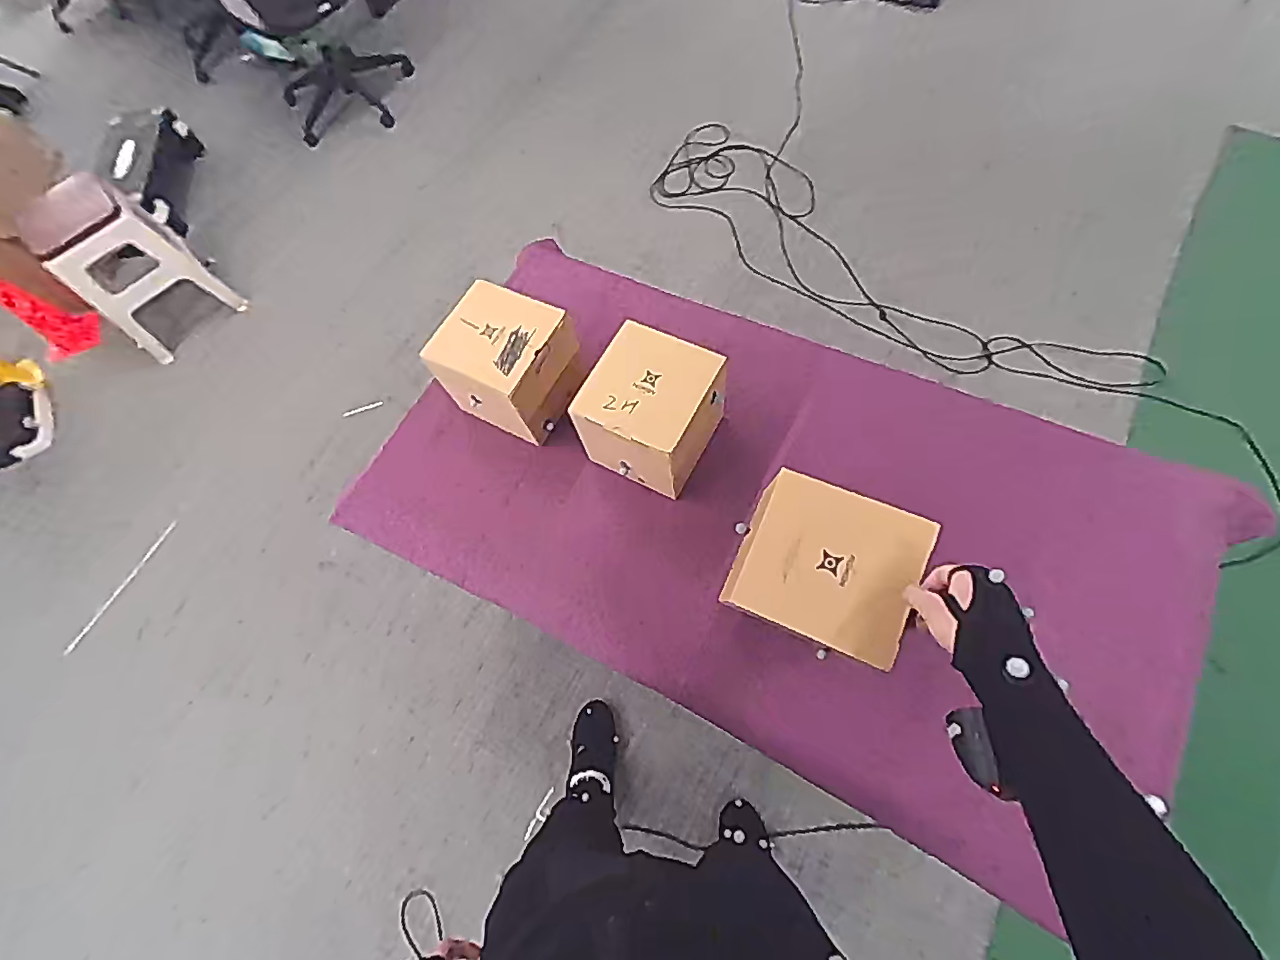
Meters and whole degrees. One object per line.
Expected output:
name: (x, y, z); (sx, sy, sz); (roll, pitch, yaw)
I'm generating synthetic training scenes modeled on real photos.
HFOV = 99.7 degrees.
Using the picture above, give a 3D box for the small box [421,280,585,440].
small box: (-0.211, -0.188, 0.890); (0.179, 0.176, 0.168); (25, 72, 16)

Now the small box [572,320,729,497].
small box: (0.022, -0.103, 0.827); (0.168, 0.176, 0.179); (26, 73, 16)

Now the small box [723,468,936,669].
small box: (0.215, 0.106, 0.661); (0.179, 0.176, 0.168); (24, 81, 10)
